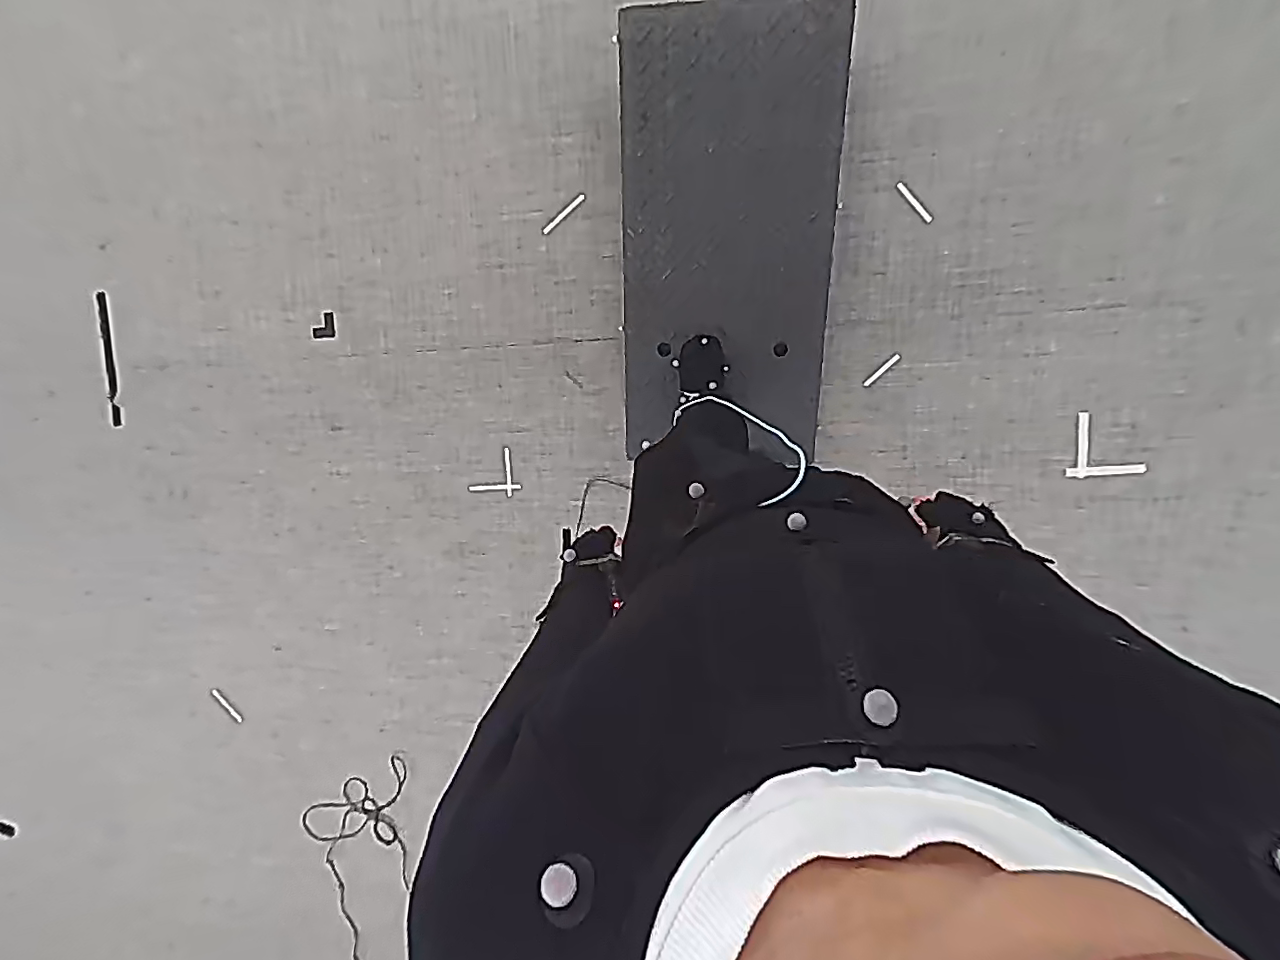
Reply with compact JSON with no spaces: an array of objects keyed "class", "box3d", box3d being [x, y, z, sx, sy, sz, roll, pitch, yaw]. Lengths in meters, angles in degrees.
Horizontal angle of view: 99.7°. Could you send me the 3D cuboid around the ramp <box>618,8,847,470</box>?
[{"class":"ramp","box3d":[0.214,-0.504,1.301,0.509,0.206,0.991,-2,97,8]}]
